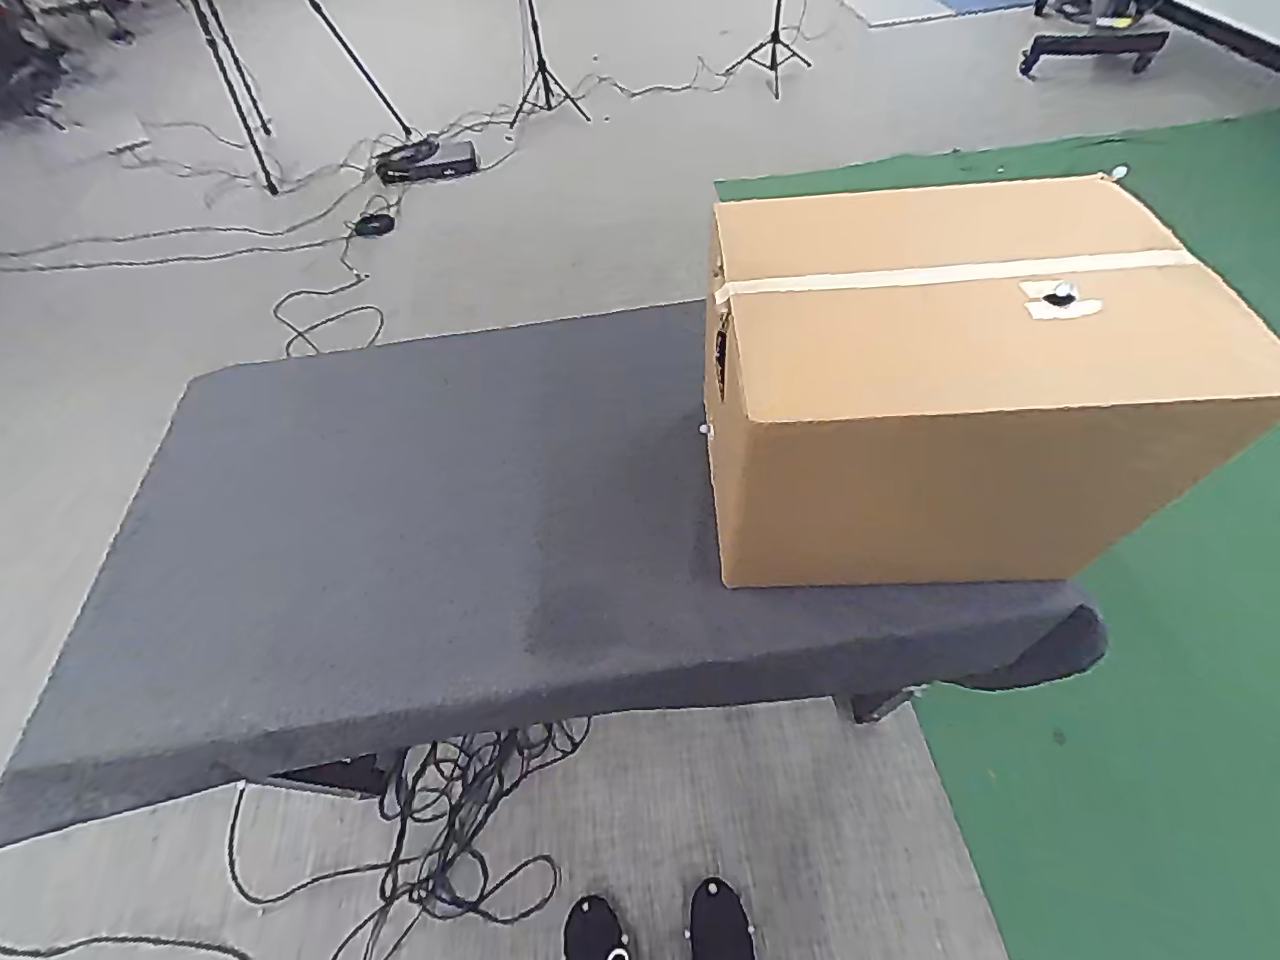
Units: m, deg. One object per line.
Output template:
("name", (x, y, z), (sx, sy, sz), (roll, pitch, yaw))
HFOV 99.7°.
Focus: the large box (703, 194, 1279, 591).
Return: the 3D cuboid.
("large box", (0.290, -0.084, 0.610), (0.408, 0.320, 0.320), (-2, 55, 2))
